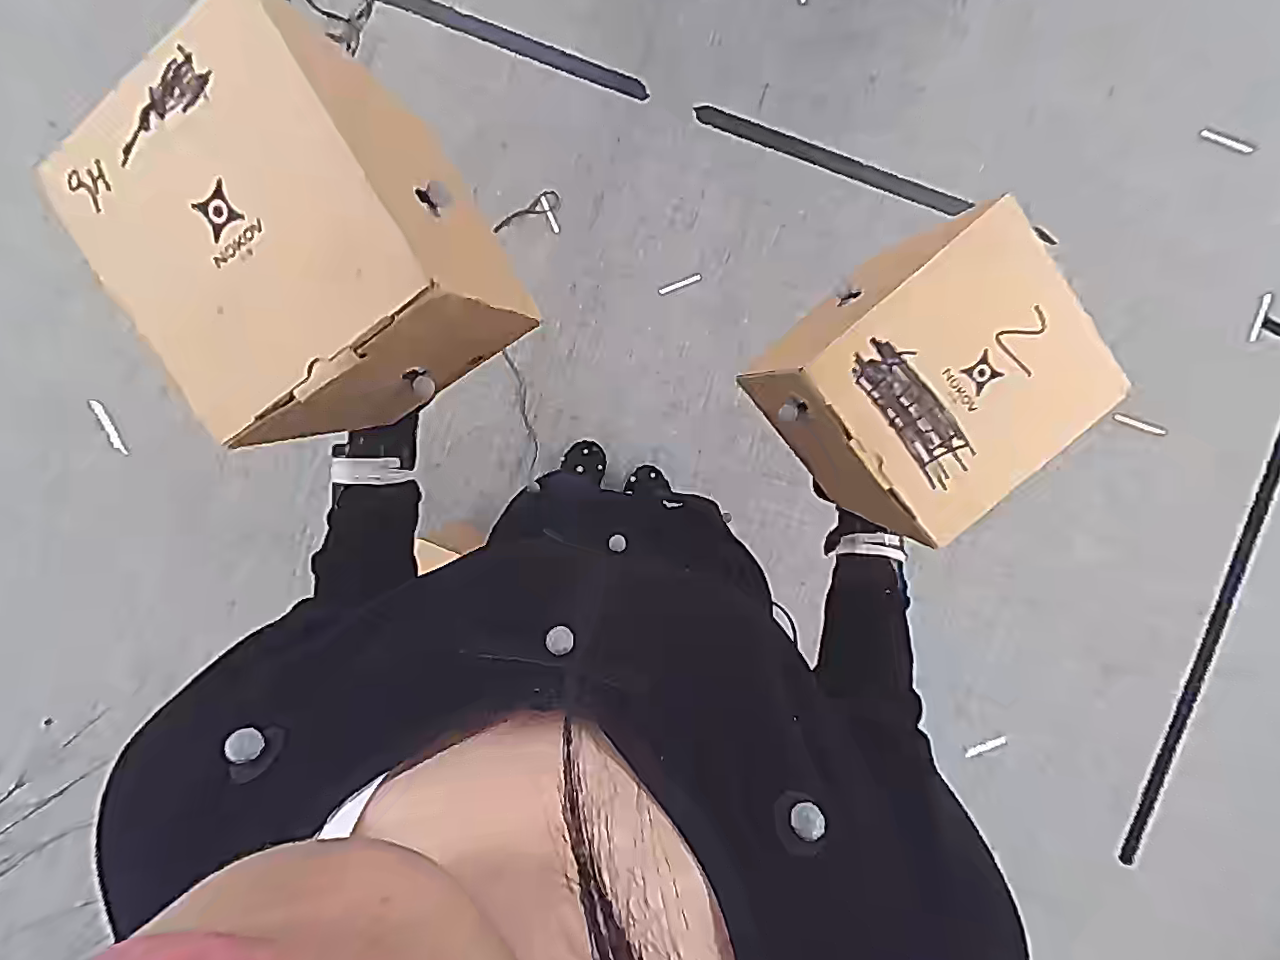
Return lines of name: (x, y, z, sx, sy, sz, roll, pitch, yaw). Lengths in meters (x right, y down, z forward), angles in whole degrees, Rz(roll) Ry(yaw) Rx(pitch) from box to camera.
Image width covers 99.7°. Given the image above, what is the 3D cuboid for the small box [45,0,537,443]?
small box: (-0.195, -0.147, 0.357, 0.168, 0.176, 0.179, -30, 95, 12)
